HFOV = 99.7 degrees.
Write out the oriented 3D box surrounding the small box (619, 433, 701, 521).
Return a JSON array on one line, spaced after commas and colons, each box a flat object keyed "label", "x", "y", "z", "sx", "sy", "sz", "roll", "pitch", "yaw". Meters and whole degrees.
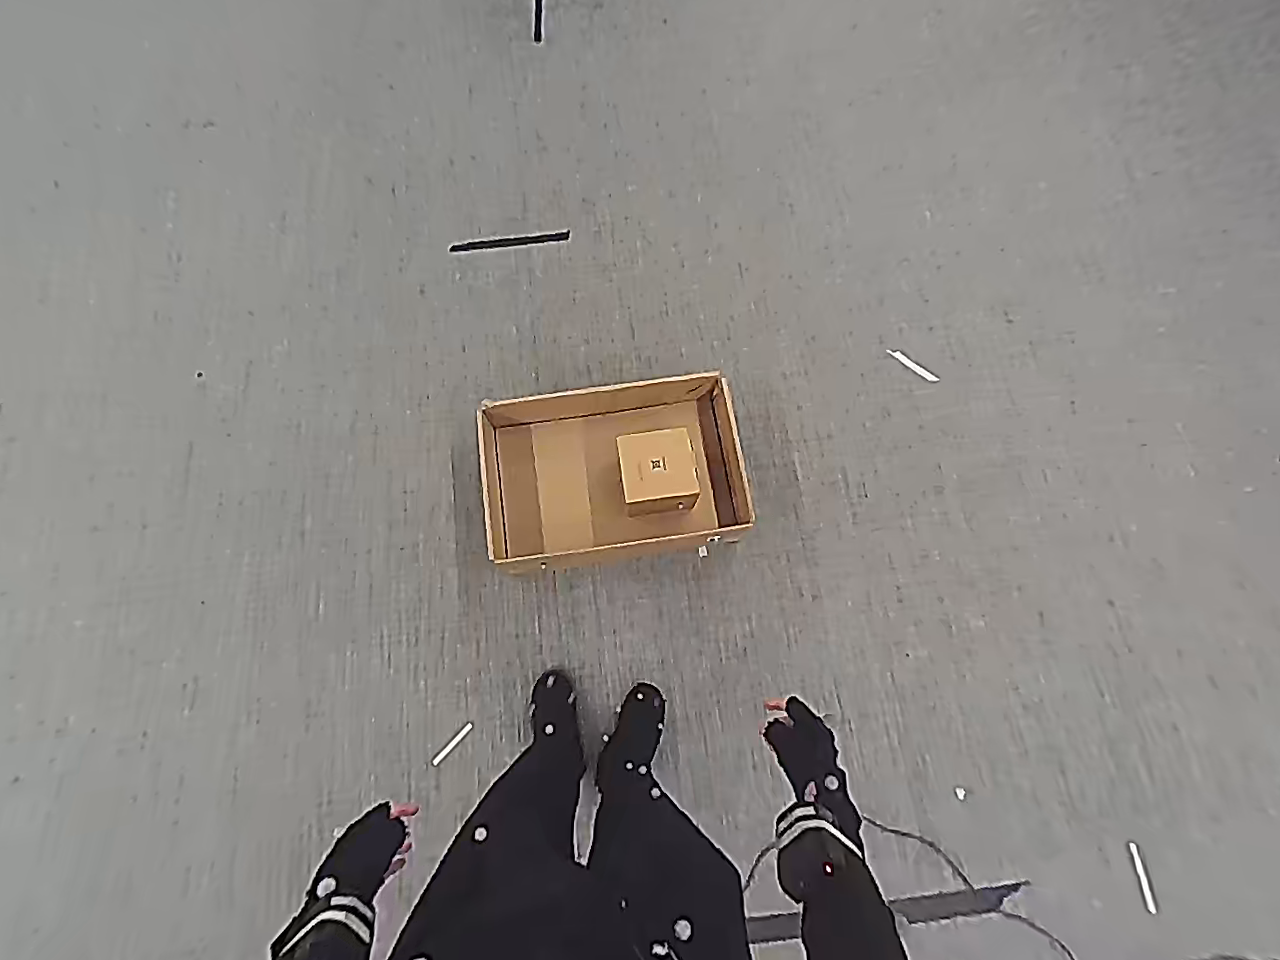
[{"label": "small box", "x": 0.045, "y": -0.003, "z": 1.336, "sx": 0.179, "sy": 0.176, "sz": 0.168, "roll": -9, "pitch": 74, "yaw": -2}]
